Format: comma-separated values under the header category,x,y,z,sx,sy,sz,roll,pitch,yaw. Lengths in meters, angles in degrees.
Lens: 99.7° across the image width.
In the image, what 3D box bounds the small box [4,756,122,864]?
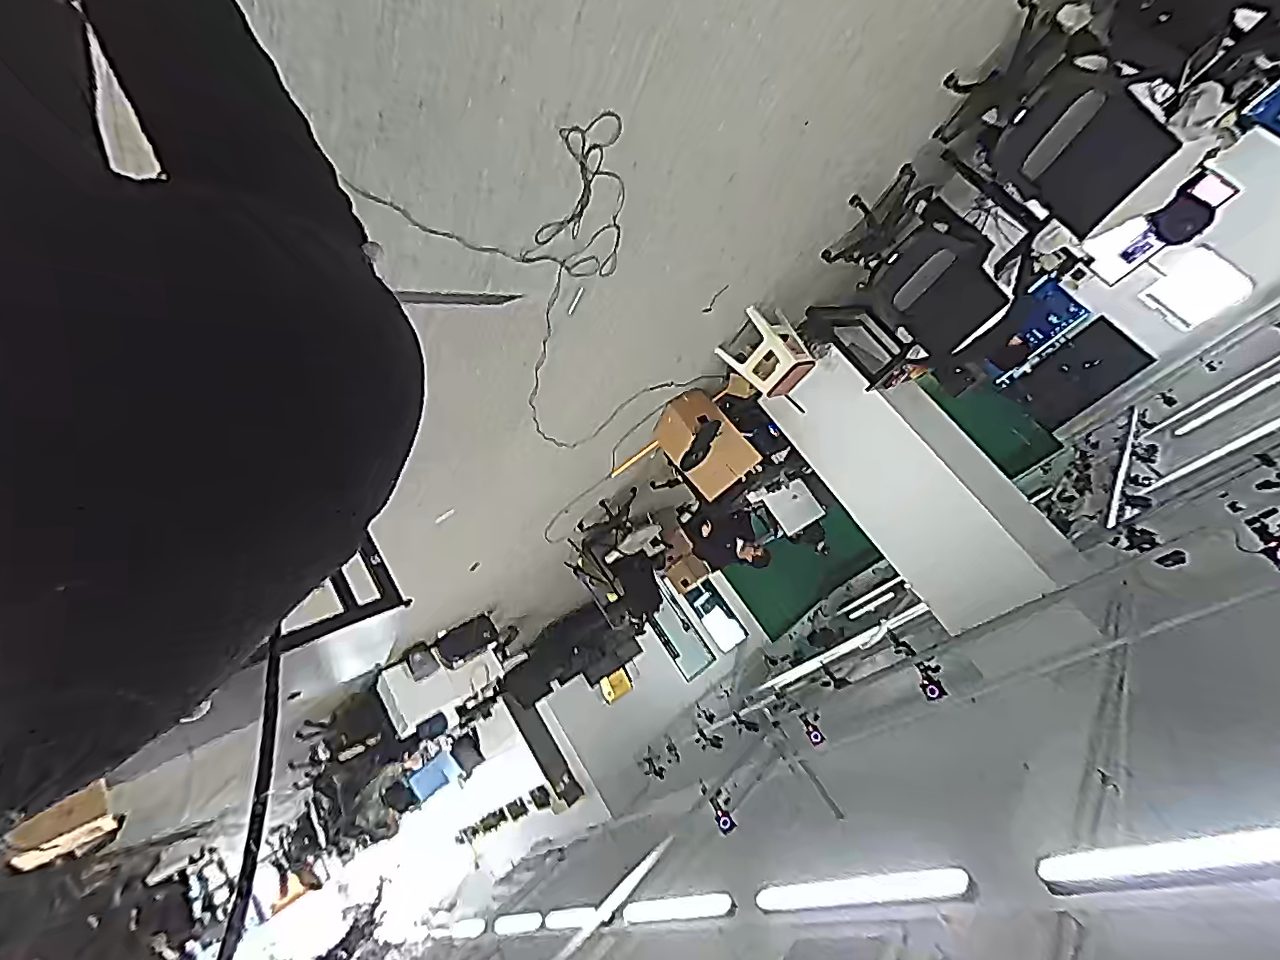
category,x,y,z,sx,sy,sz,roll,pitch,yaw
small box,-1.525,0.869,1.435,0.179,0.176,0.168,-18,156,-46
